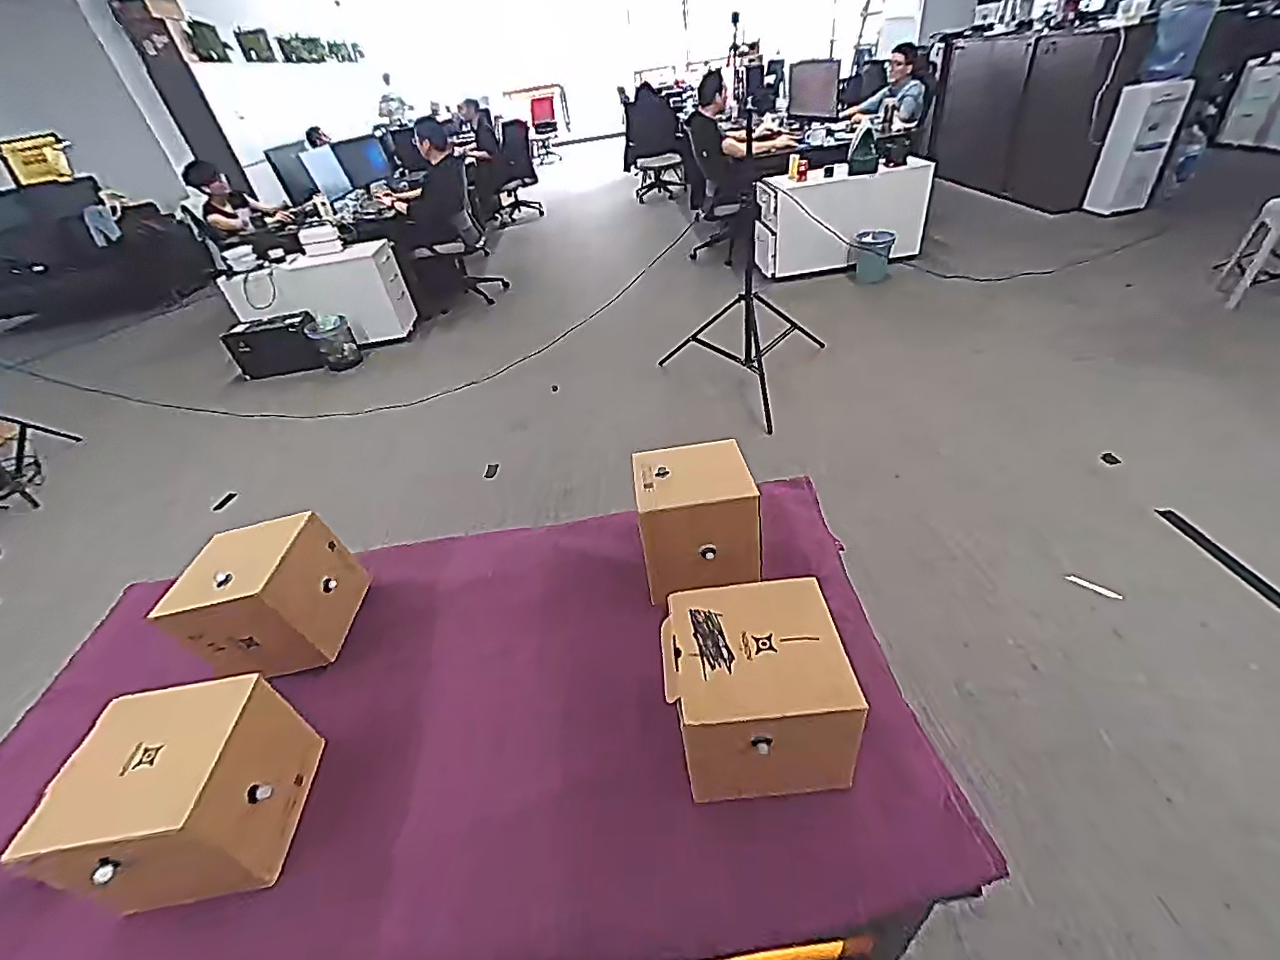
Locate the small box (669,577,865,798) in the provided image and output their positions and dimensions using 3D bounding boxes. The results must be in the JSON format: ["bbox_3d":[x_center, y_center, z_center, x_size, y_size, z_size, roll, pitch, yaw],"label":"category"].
[{"bbox_3d":[0.133,0.236,0.613,0.179,0.176,0.168,-7,37,3],"label":"small box"}]

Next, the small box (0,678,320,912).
[{"bbox_3d":[-0.503,0.353,0.608,0.179,0.176,0.168,-10,38,-1],"label":"small box"}]

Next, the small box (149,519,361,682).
[{"bbox_3d":[-0.553,0.180,0.816,0.179,0.168,0.176,-13,36,7],"label":"small box"}]
